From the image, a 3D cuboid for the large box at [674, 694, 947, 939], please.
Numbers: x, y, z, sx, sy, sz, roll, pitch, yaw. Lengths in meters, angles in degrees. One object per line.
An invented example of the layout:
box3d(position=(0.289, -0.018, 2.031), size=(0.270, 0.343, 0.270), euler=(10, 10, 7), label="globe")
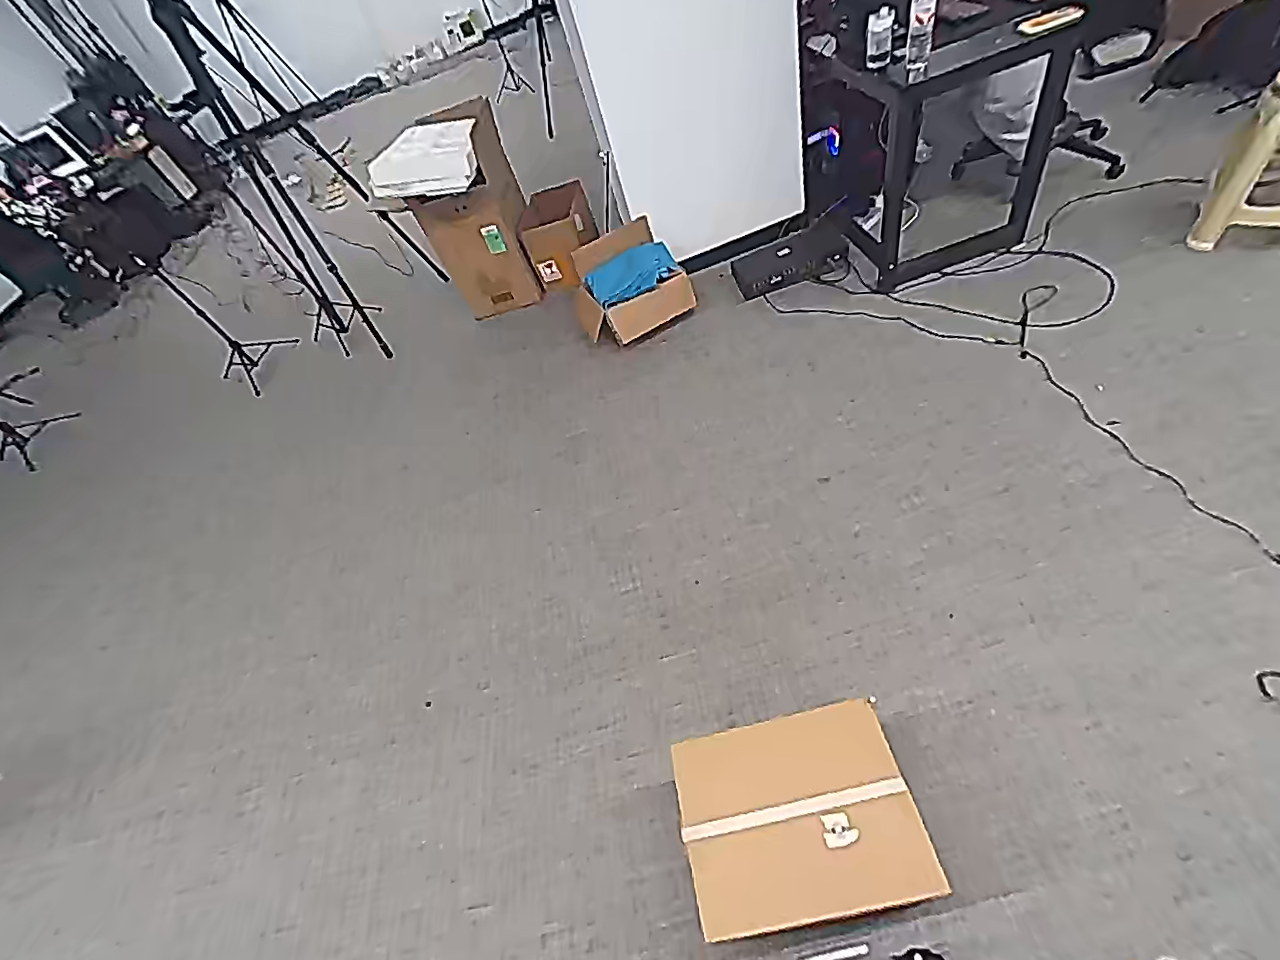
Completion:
box3d(position=(0.318, 0.680, 1.086), size=(0.408, 0.320, 0.320), euler=(-17, 49, 5), label="large box")
